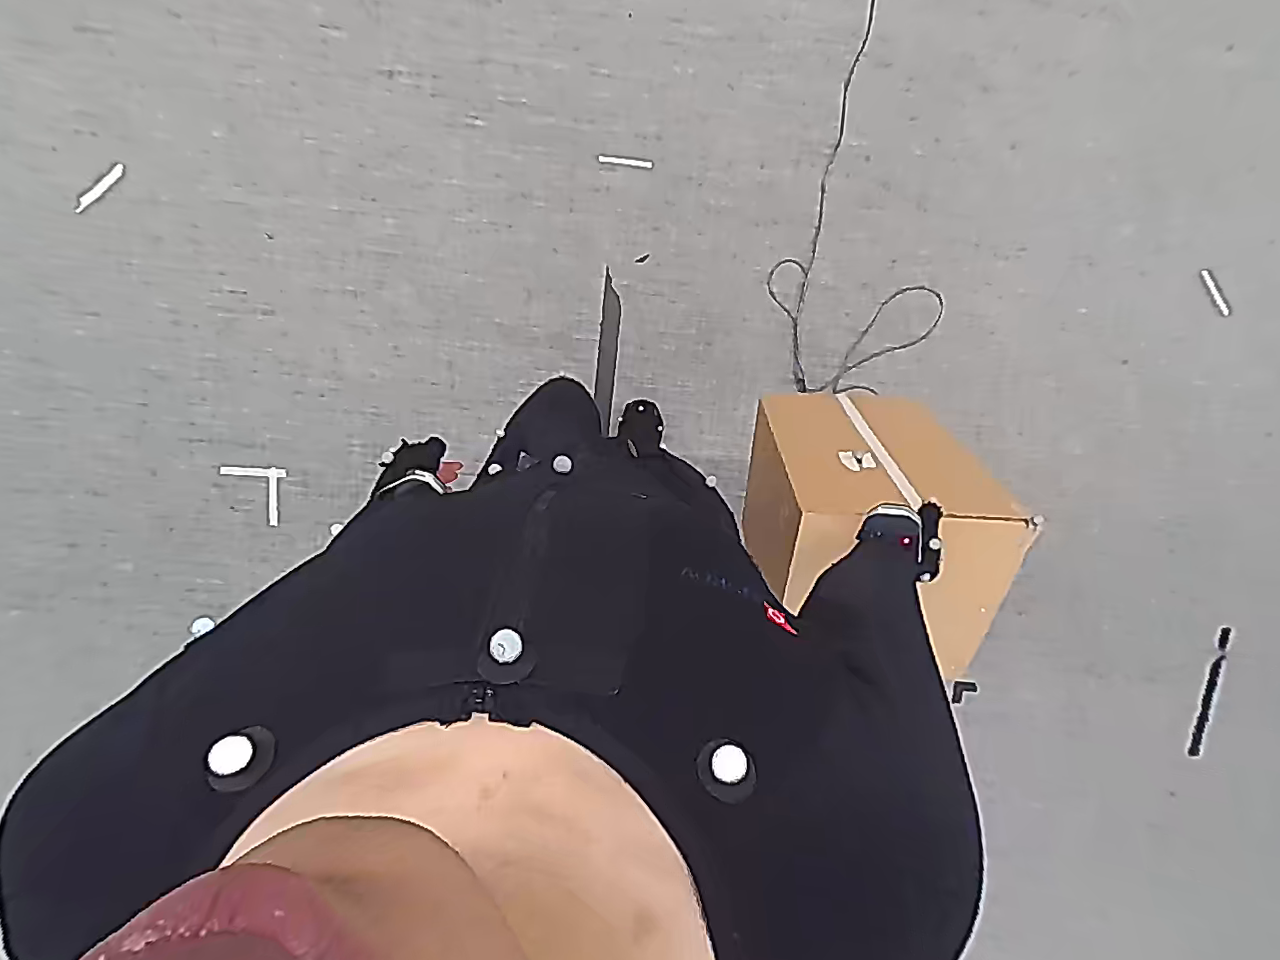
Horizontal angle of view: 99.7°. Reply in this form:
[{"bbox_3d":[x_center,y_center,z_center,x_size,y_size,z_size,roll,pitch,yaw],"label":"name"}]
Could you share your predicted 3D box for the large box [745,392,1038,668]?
[{"bbox_3d":[0.383,0.069,0.969,0.320,0.408,0.320,1,123,2],"label":"large box"}]
